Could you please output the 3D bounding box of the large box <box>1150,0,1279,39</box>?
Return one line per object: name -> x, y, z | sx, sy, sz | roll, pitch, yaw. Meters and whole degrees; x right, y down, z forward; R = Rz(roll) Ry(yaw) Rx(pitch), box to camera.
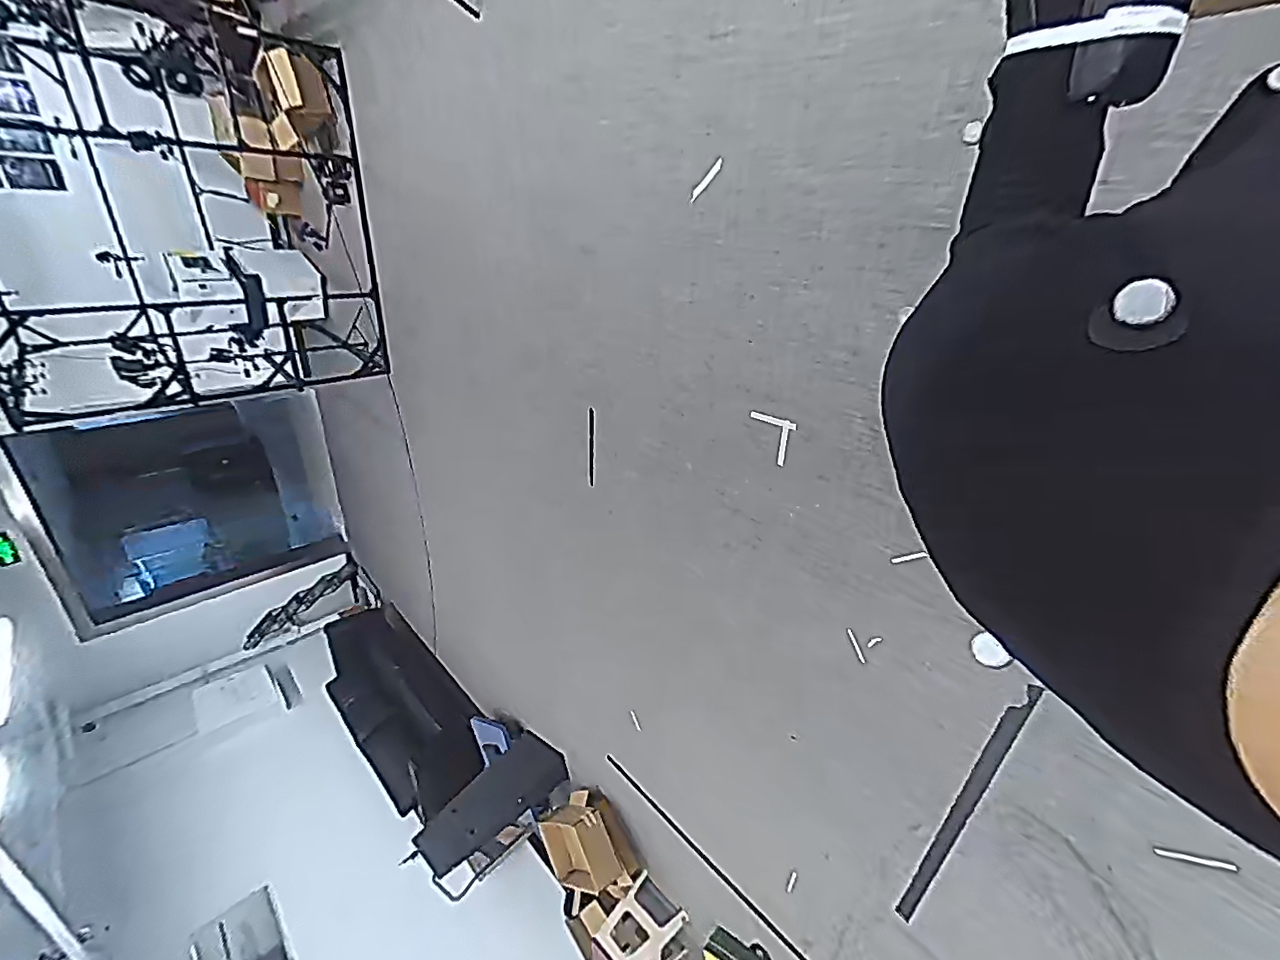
large box -> 0.524, -0.440, 0.223 | 0.408, 0.320, 0.320 | 20, 127, 39
